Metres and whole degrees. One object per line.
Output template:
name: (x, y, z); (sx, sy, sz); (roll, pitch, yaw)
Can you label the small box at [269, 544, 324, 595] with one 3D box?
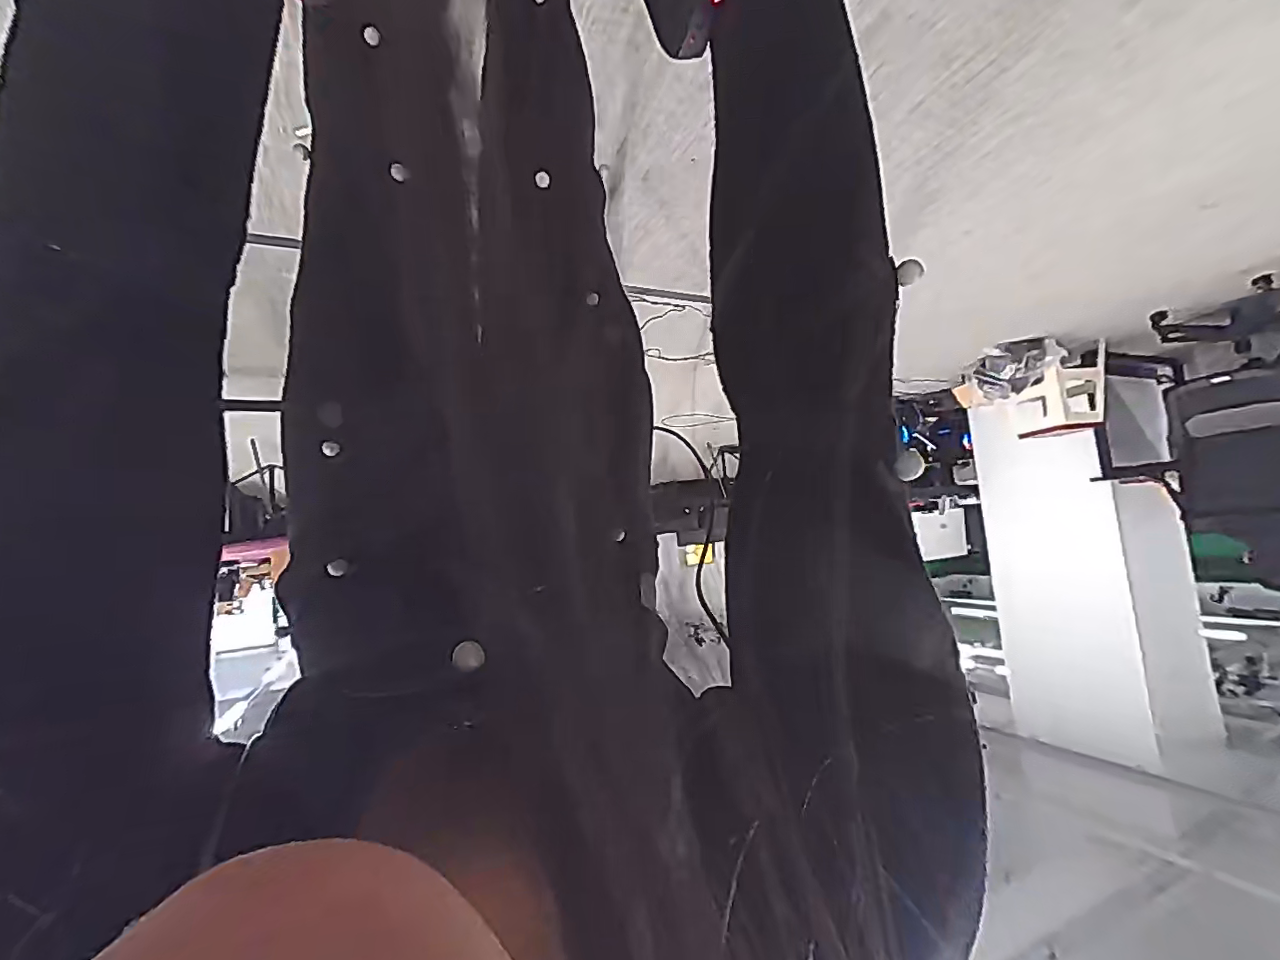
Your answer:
small box: (-1.293, 0.333, 2.036); (0.168, 0.176, 0.179); (-3, 174, -32)
